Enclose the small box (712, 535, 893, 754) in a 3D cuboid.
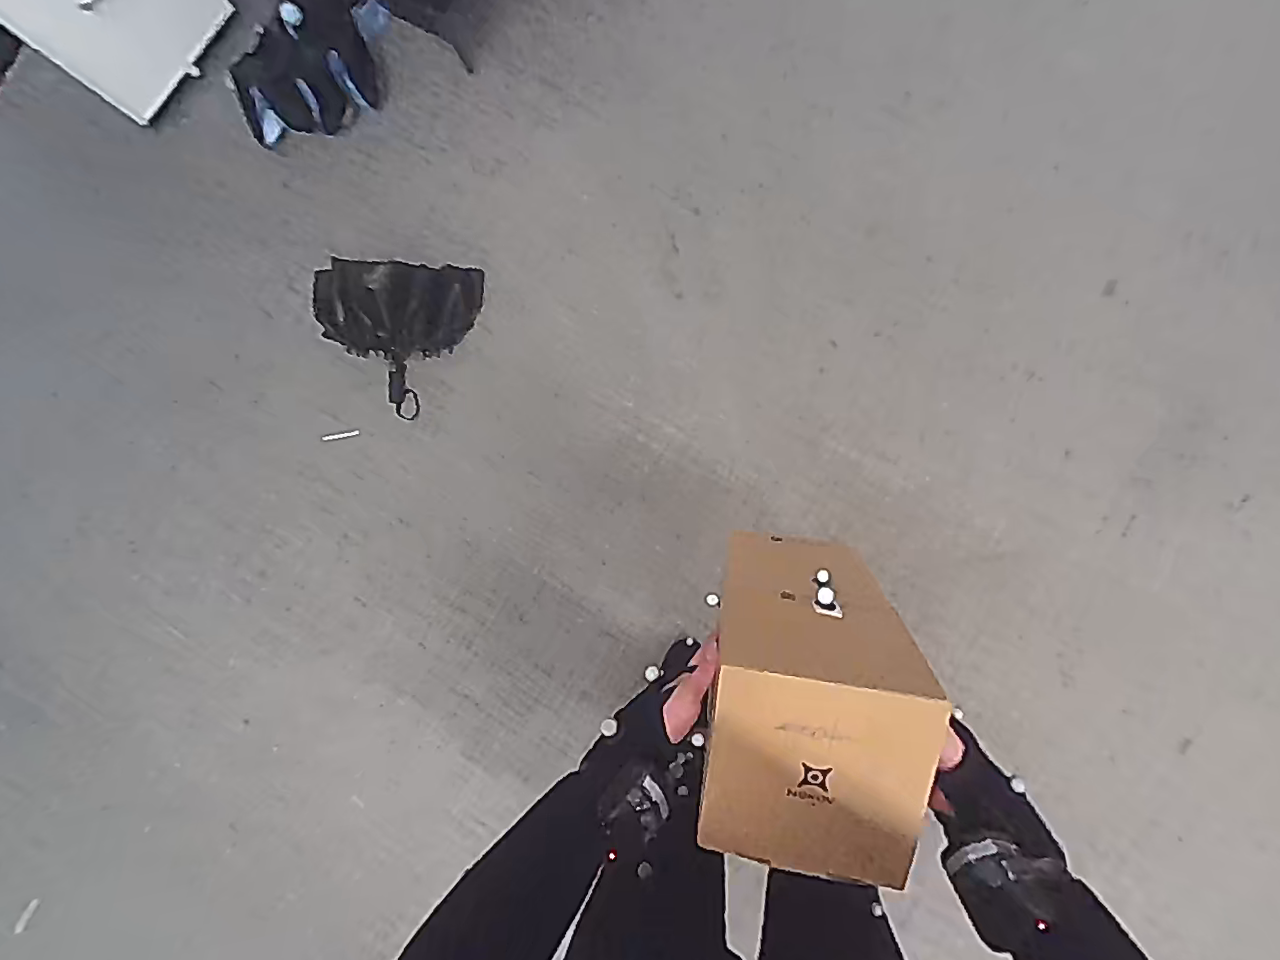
[{"bbox_3d":[0.181,0.184,0.648,0.168,0.176,0.179,6,104,8],"label":"small box"}]
